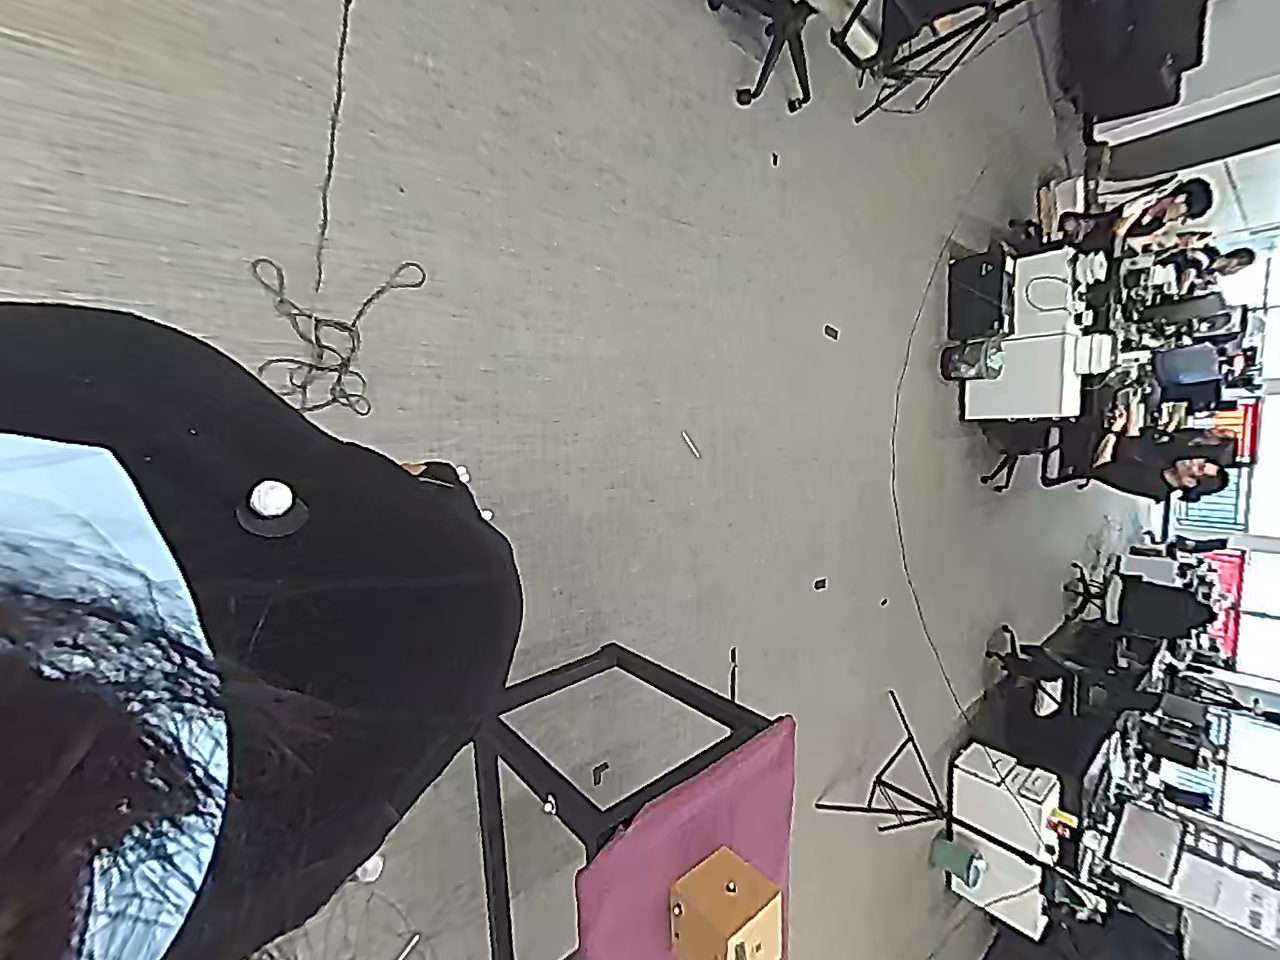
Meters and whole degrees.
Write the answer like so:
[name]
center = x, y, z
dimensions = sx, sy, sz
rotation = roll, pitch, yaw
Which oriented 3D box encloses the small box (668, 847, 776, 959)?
[small box]
center = 0.174, 0.957, 1.174
dimensions = 0.179, 0.176, 0.168
rotation = -7, 99, -39
